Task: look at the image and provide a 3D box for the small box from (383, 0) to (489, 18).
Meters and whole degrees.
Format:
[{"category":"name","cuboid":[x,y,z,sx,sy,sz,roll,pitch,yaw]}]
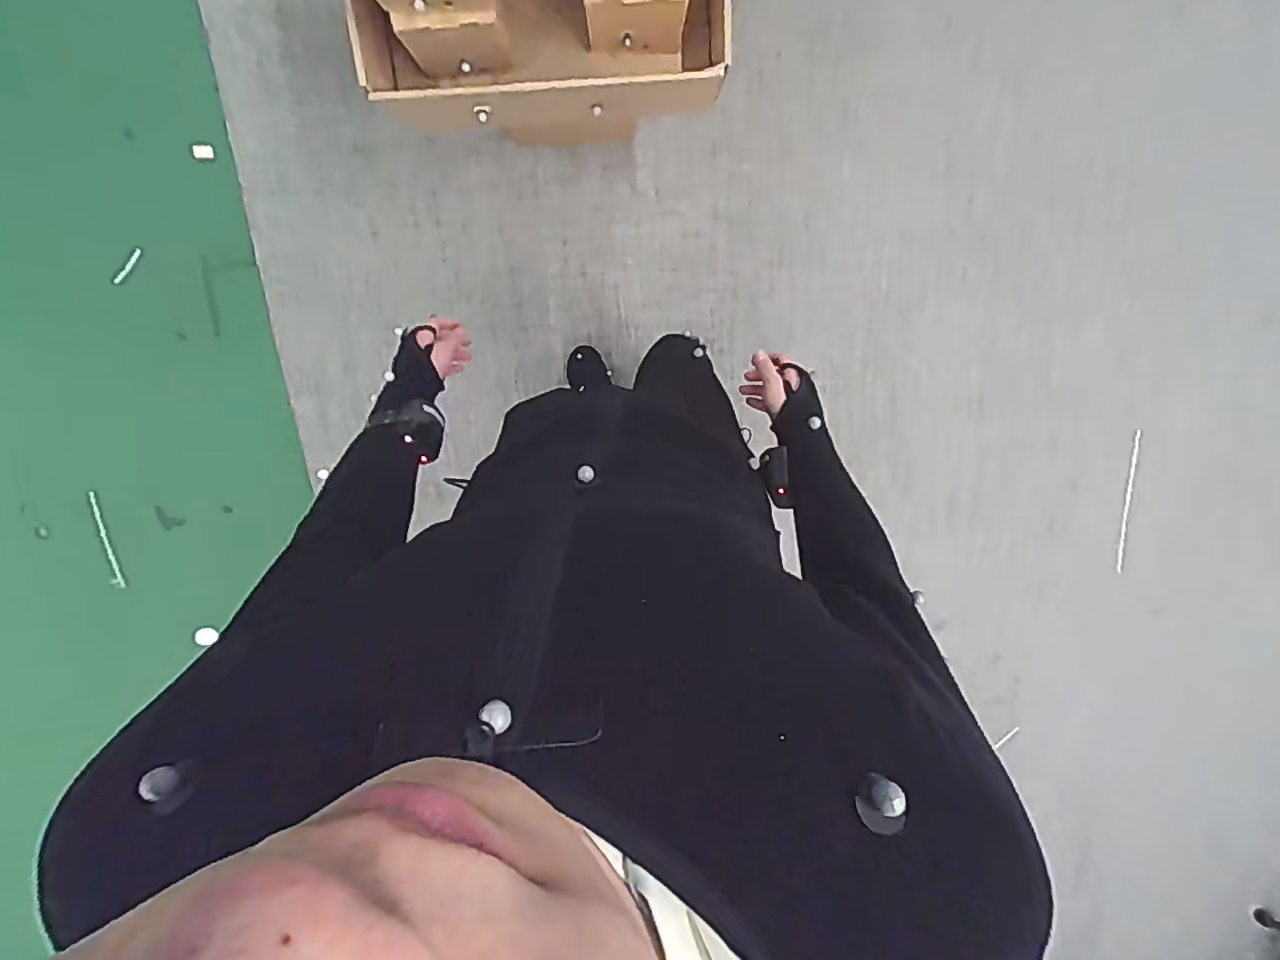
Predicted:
[{"category":"small box","cuboid":[-0.311,-0.783,0.737,0.168,0.176,0.179,-1,104,-1]}]
